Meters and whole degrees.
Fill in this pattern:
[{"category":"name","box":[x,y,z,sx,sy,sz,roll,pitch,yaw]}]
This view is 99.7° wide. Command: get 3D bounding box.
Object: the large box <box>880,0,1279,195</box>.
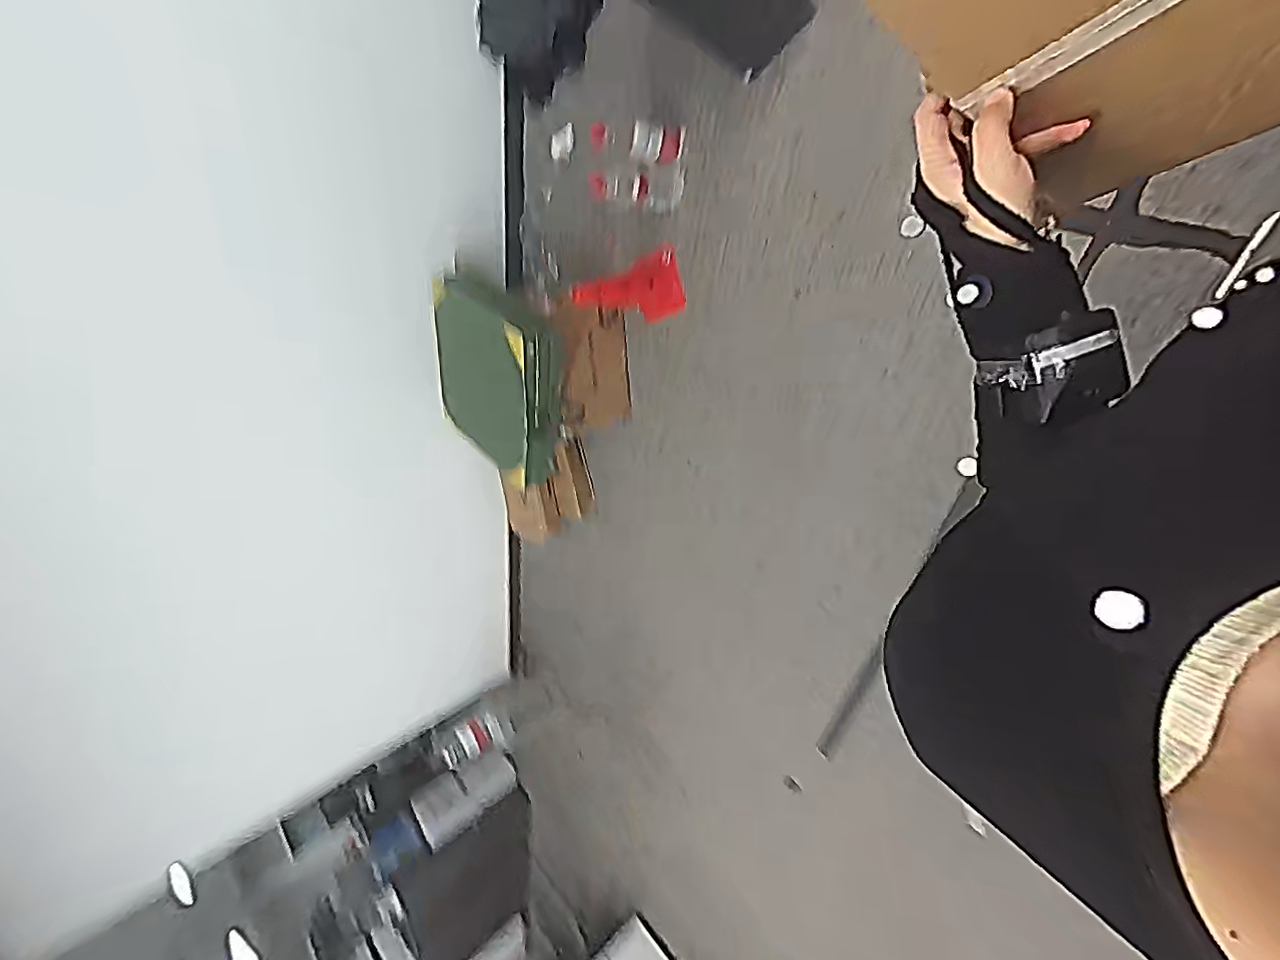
[{"category":"large box","box":[0.327,-0.403,0.197,0.408,0.320,0.320,-6,77,56]}]
